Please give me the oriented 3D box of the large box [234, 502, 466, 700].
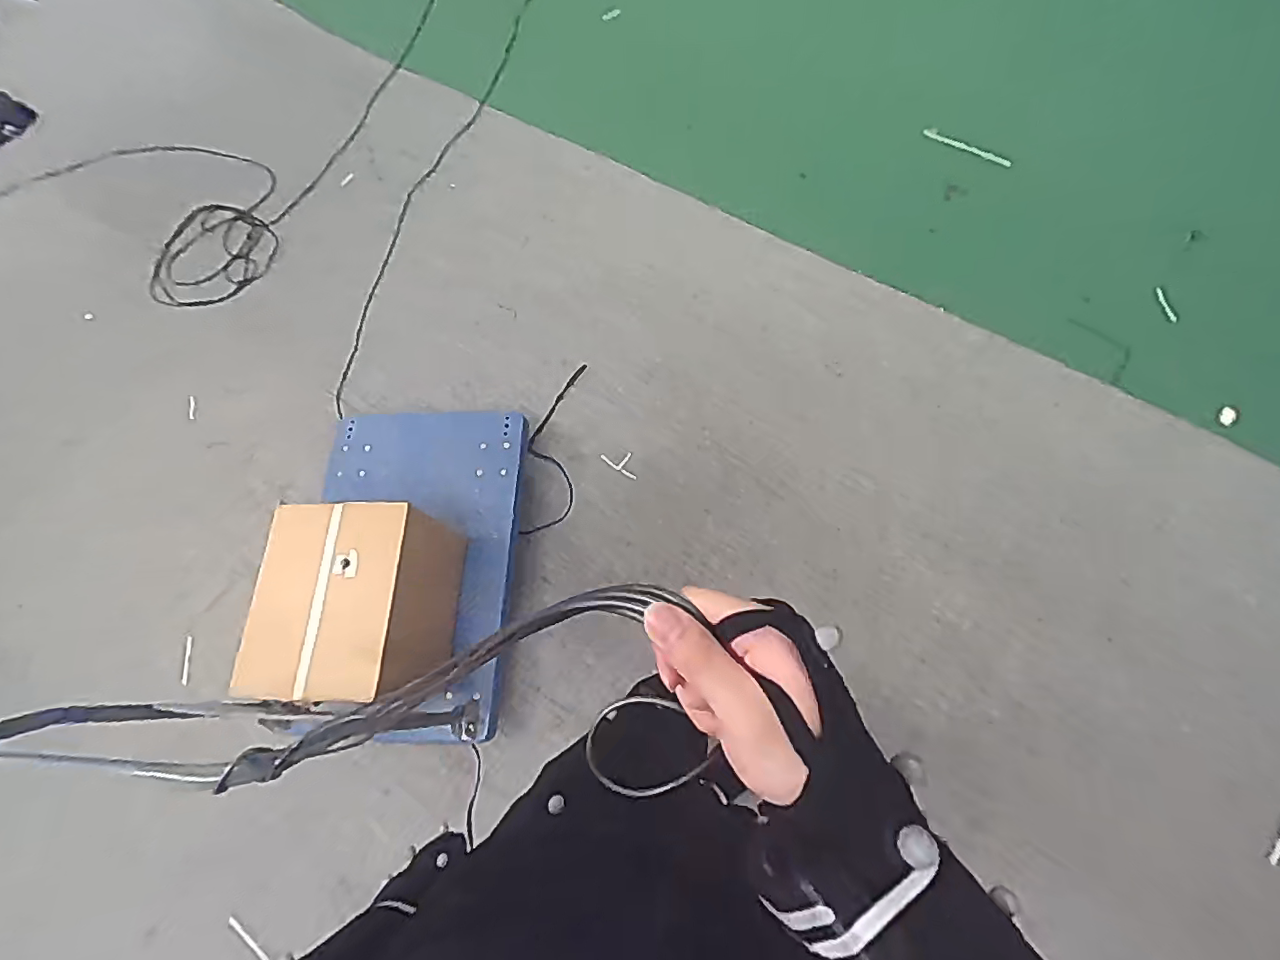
[{"bbox_3d":[-0.631,0.291,1.251,0.320,0.320,0.408,-1,69,6],"label":"large box"}]
